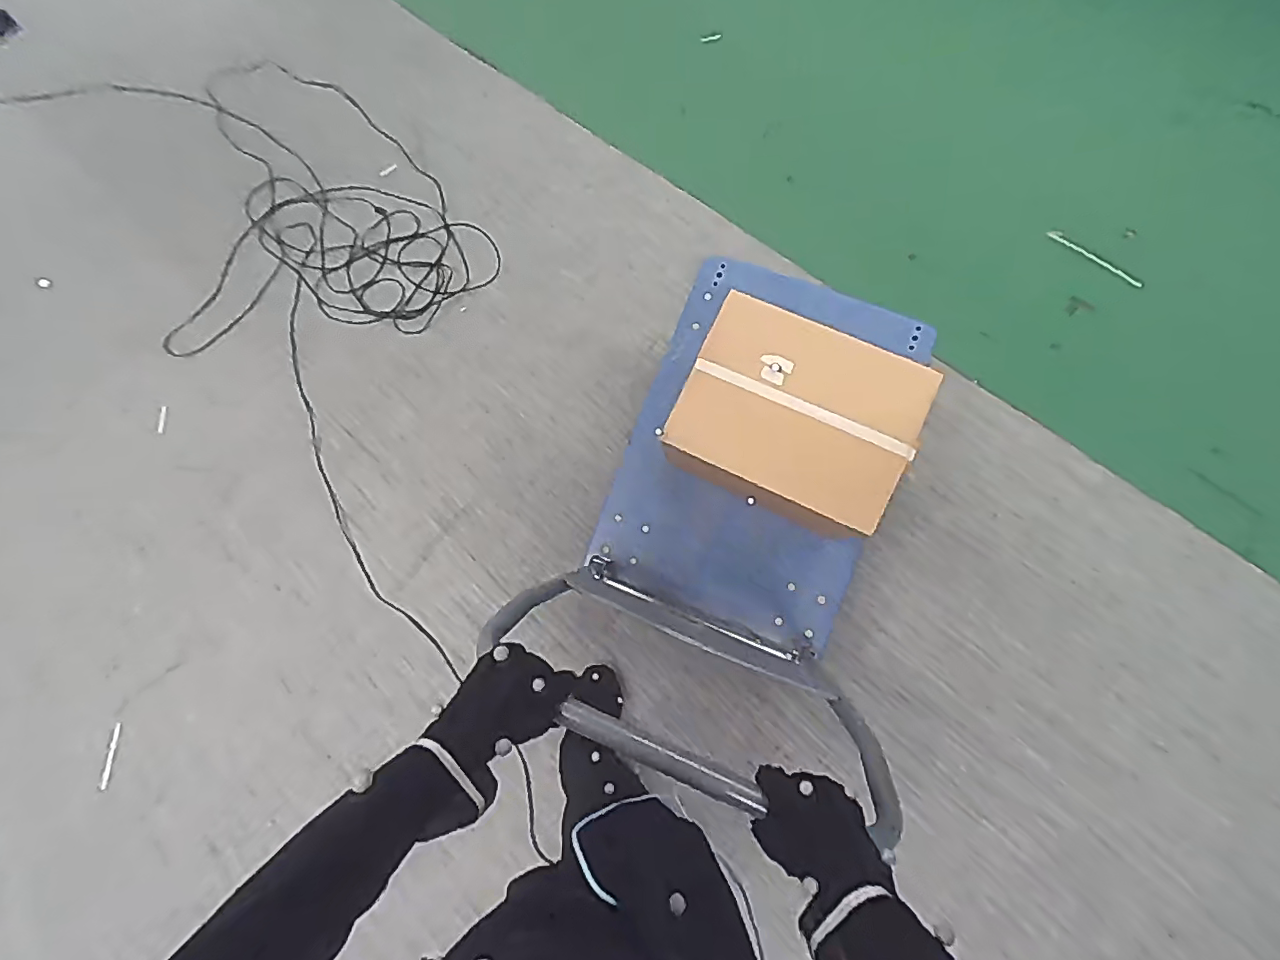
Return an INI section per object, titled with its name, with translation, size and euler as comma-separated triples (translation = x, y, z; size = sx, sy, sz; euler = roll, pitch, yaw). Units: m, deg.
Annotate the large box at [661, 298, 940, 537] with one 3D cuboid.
[large box]
translation = 0.299, -0.102, 1.101
size = 0.408, 0.320, 0.320
euler = 26, 87, 10
